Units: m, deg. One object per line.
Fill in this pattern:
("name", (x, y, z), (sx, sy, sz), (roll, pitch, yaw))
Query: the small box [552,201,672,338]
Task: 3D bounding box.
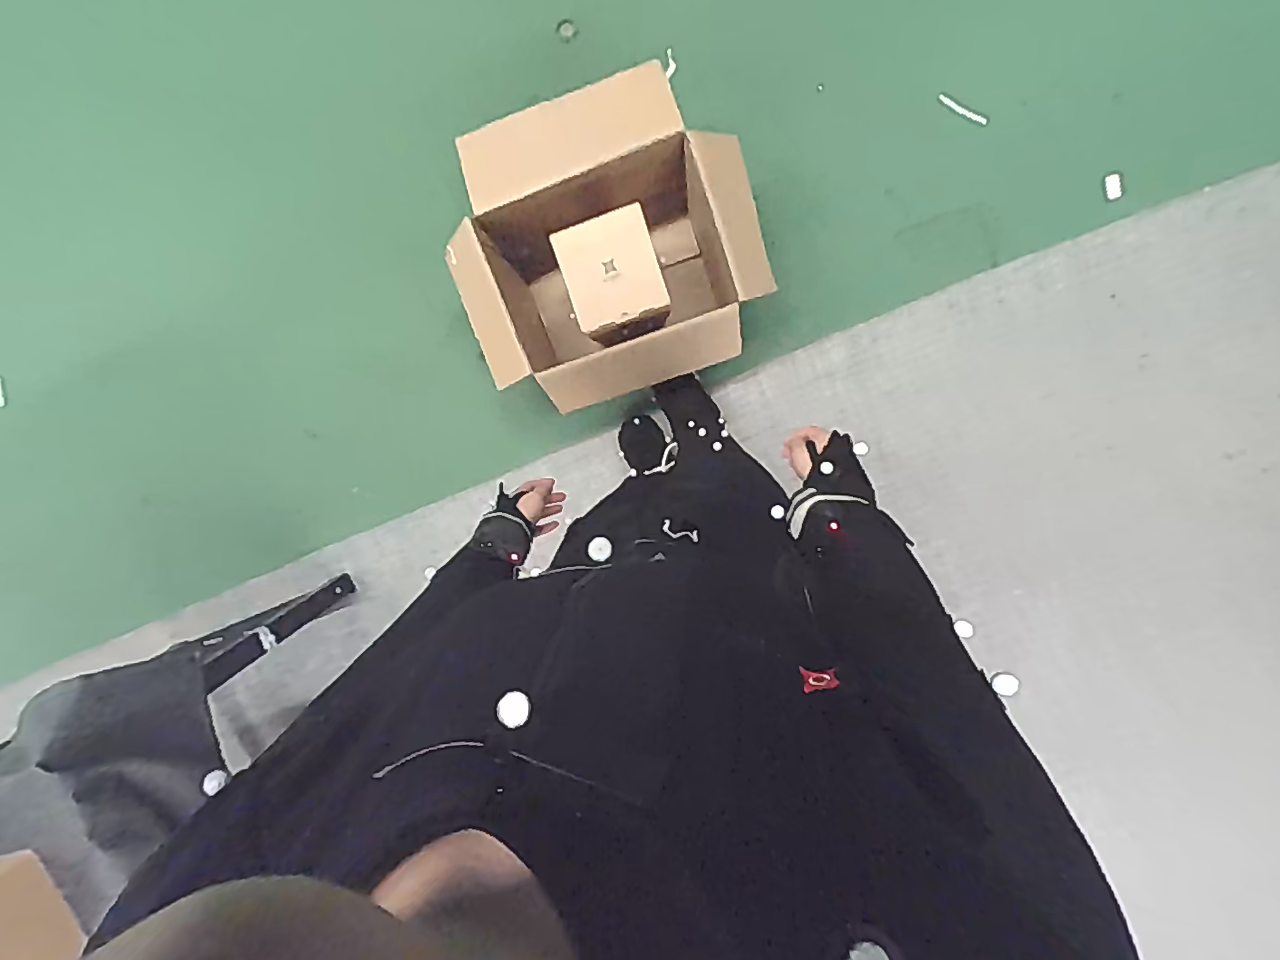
("small box", (-0.046, -0.377, 1.001), (0.168, 0.176, 0.179), (-18, 99, 5))
